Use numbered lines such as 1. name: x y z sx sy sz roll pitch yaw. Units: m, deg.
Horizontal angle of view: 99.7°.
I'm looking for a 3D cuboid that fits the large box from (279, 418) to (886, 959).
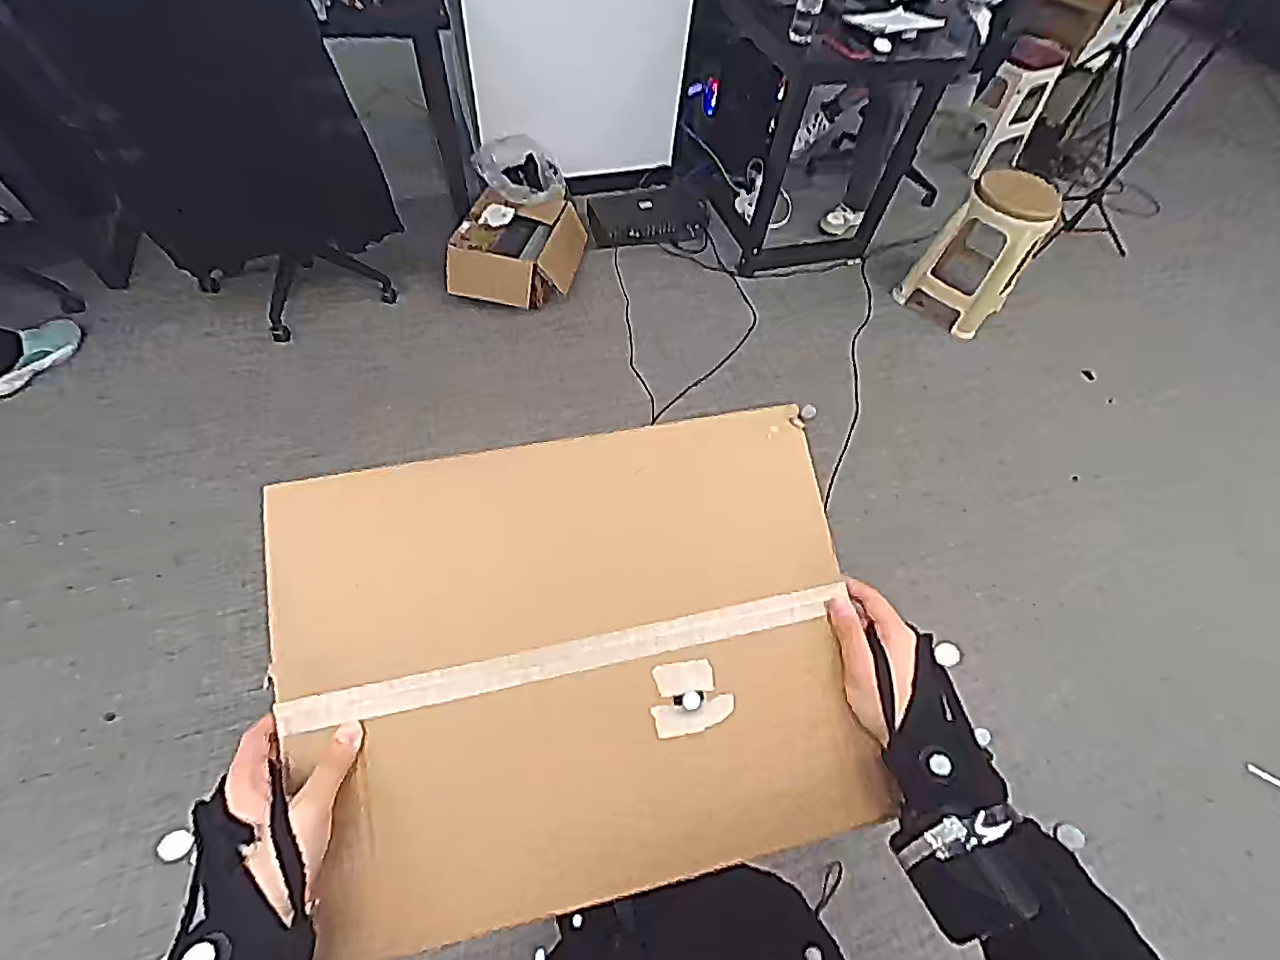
1. large box: -0.058 0.160 0.539 0.408 0.320 0.320 -10 81 -10
